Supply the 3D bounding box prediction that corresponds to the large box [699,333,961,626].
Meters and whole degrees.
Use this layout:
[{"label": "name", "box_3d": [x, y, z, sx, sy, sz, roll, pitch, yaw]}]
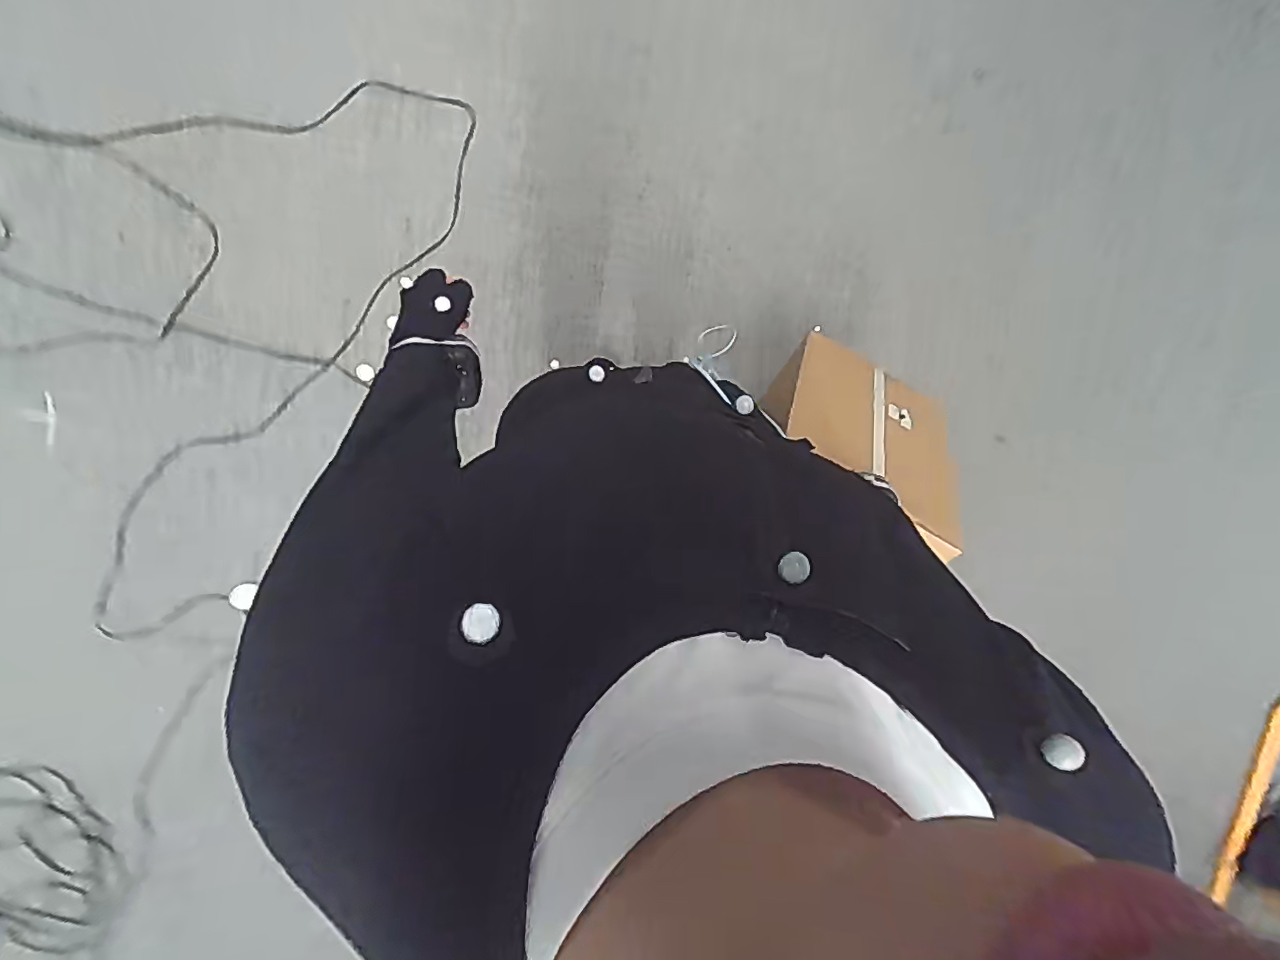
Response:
[{"label": "large box", "box_3d": [0.346, -0.005, 1.041, 0.320, 0.408, 0.320, 29, 133, -3]}]
